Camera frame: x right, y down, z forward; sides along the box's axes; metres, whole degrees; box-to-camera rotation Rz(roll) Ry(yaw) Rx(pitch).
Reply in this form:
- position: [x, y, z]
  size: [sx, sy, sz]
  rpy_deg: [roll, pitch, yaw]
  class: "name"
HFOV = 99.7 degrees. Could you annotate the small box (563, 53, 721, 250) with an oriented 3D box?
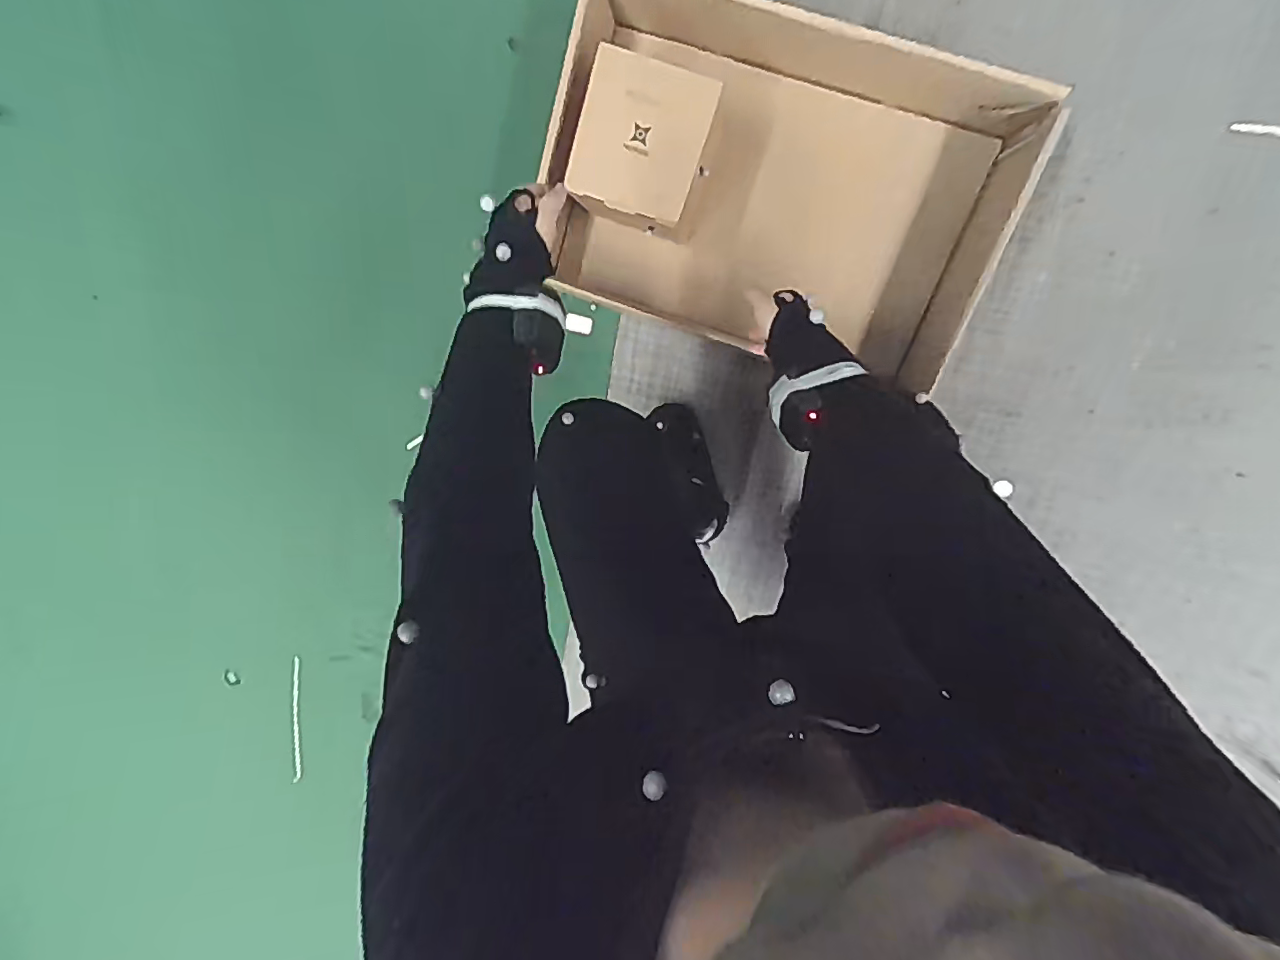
- position: [0.010, -0.447, 0.771]
  size: [0.168, 0.176, 0.179]
  rpy_deg: [21, 107, 2]
  class: "small box"
